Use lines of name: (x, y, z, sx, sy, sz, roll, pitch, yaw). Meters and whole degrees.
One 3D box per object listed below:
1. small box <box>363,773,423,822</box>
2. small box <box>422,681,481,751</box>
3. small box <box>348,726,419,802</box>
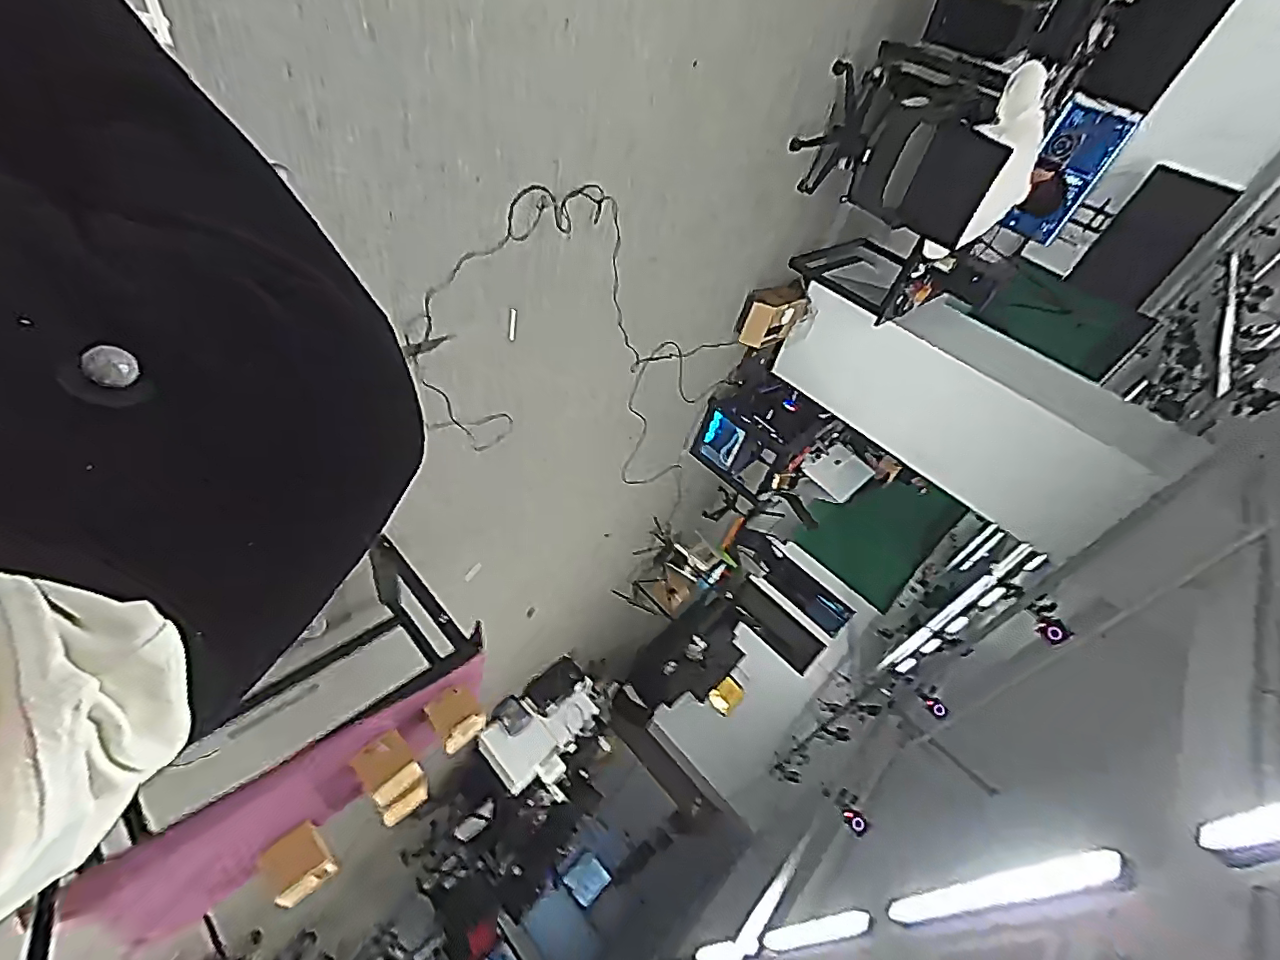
small box: (-1.000, 1.232, 2.185, 0.168, 0.176, 0.179, -27, 149, -40)
small box: (-0.752, 0.934, 2.155, 0.168, 0.176, 0.179, -30, 153, -36)
small box: (-0.942, 1.039, 1.986, 0.168, 0.176, 0.179, -33, 154, -34)
